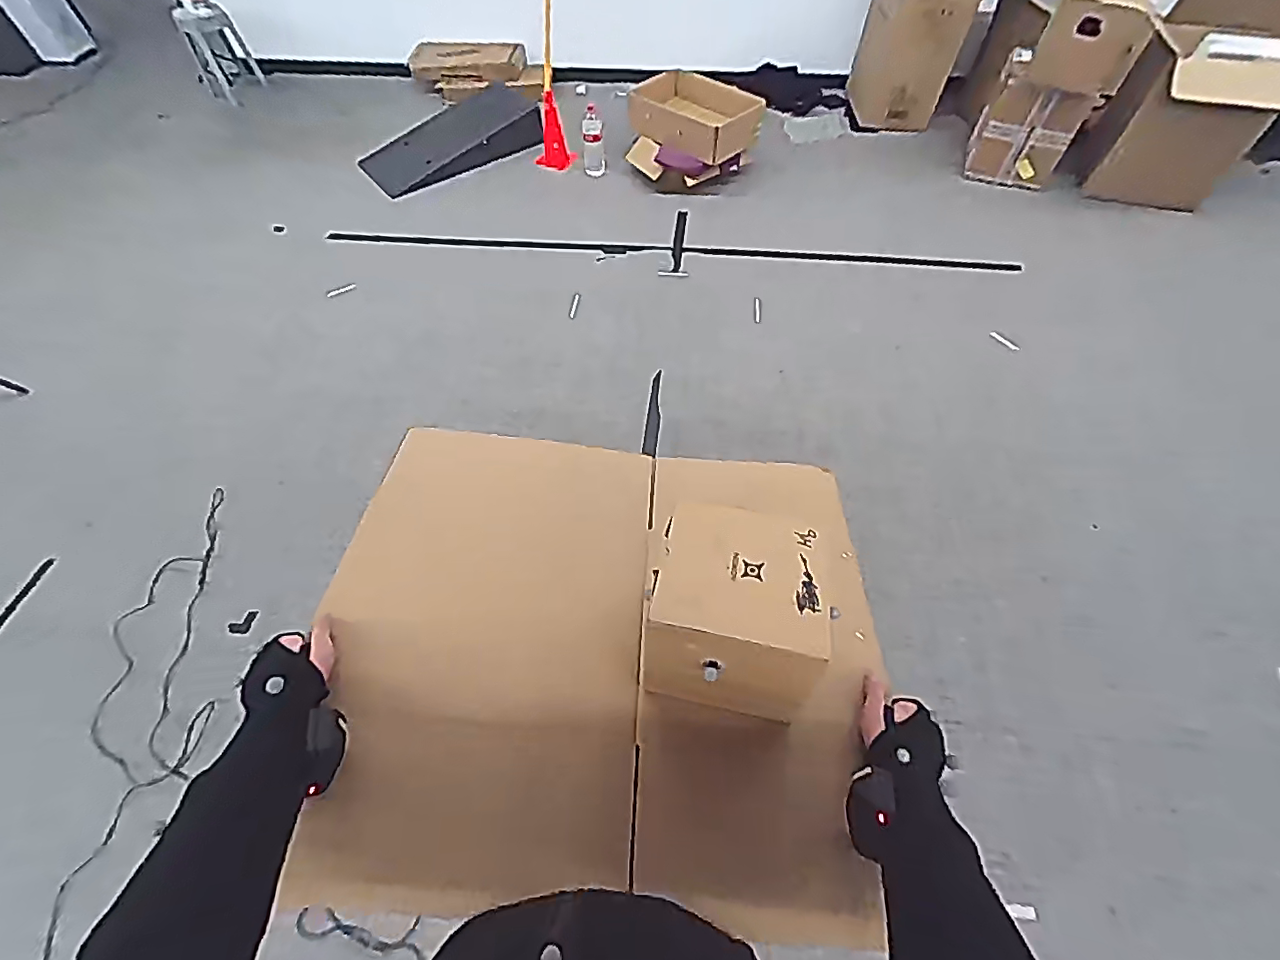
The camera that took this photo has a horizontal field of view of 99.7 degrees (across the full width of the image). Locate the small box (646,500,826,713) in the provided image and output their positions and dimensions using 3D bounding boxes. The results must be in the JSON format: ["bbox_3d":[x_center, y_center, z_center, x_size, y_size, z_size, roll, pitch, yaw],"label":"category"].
[{"bbox_3d":[0.109,0.149,0.629,0.179,0.176,0.168,9,48,9],"label":"small box"}]
